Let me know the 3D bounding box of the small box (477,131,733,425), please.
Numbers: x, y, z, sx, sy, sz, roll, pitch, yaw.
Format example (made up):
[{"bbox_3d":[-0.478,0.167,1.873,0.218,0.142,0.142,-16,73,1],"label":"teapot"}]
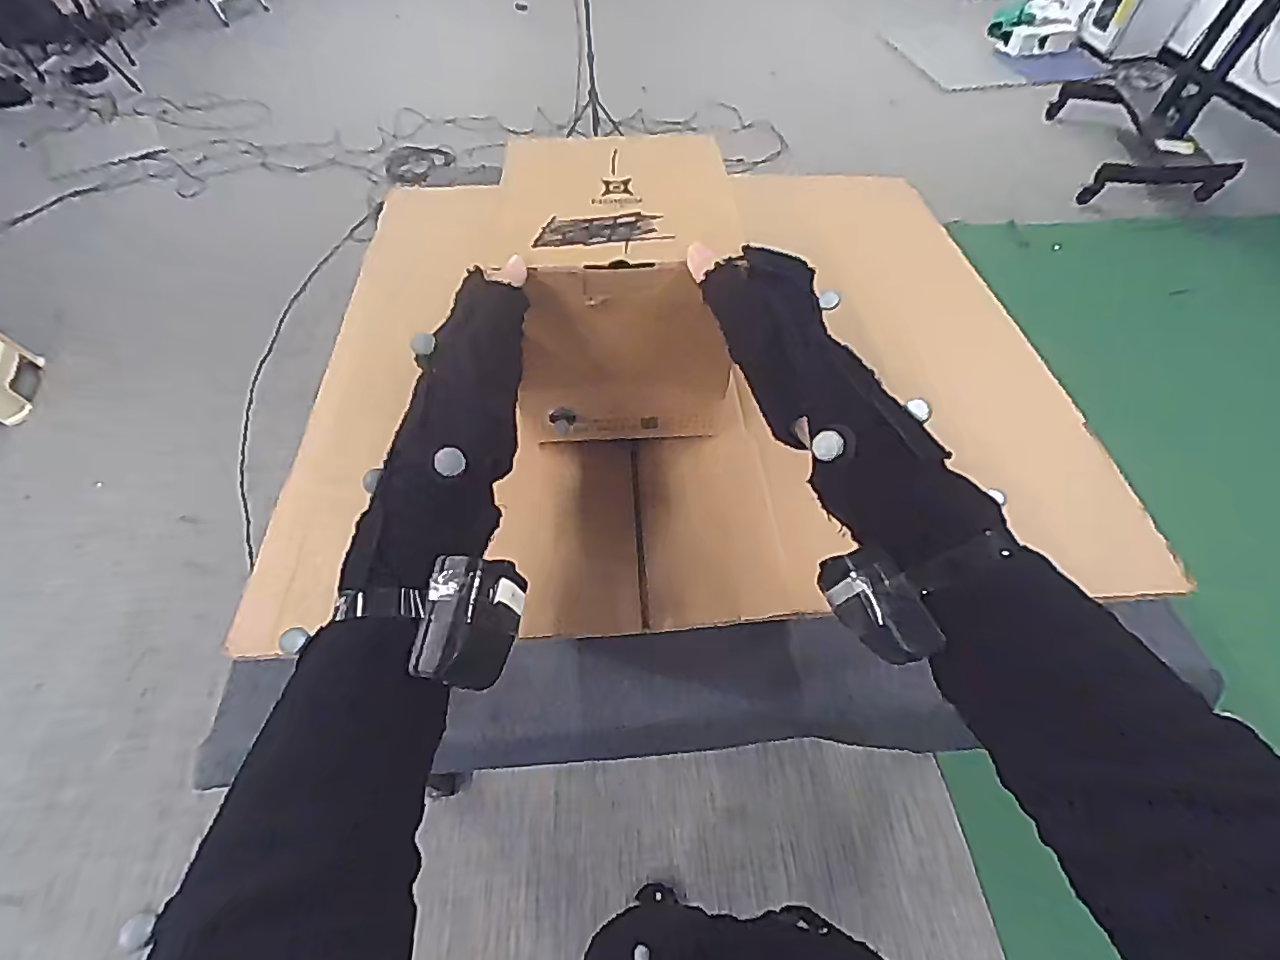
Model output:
[{"bbox_3d":[-0.023,-0.157,0.449,0.168,0.176,0.179,-3,54,-1],"label":"small box"}]
